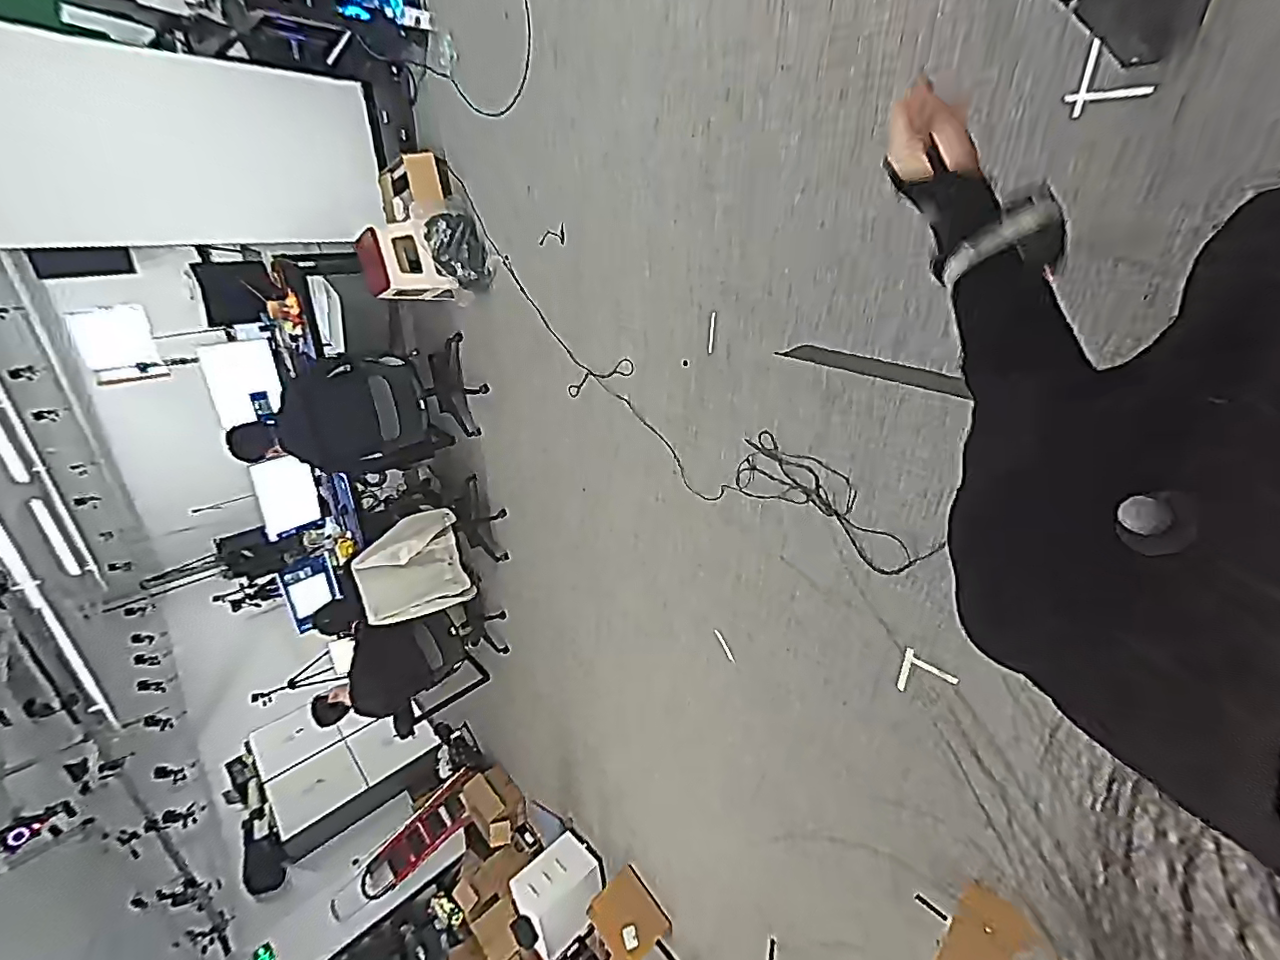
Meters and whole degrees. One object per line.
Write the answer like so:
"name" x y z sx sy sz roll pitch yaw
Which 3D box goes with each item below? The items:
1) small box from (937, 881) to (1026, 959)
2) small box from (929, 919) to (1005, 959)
"small box" 1.092 1.435 1.728 0.179 0.176 0.168 26 126 39
"small box" 0.979 1.485 1.619 0.179 0.176 0.168 28 127 38
